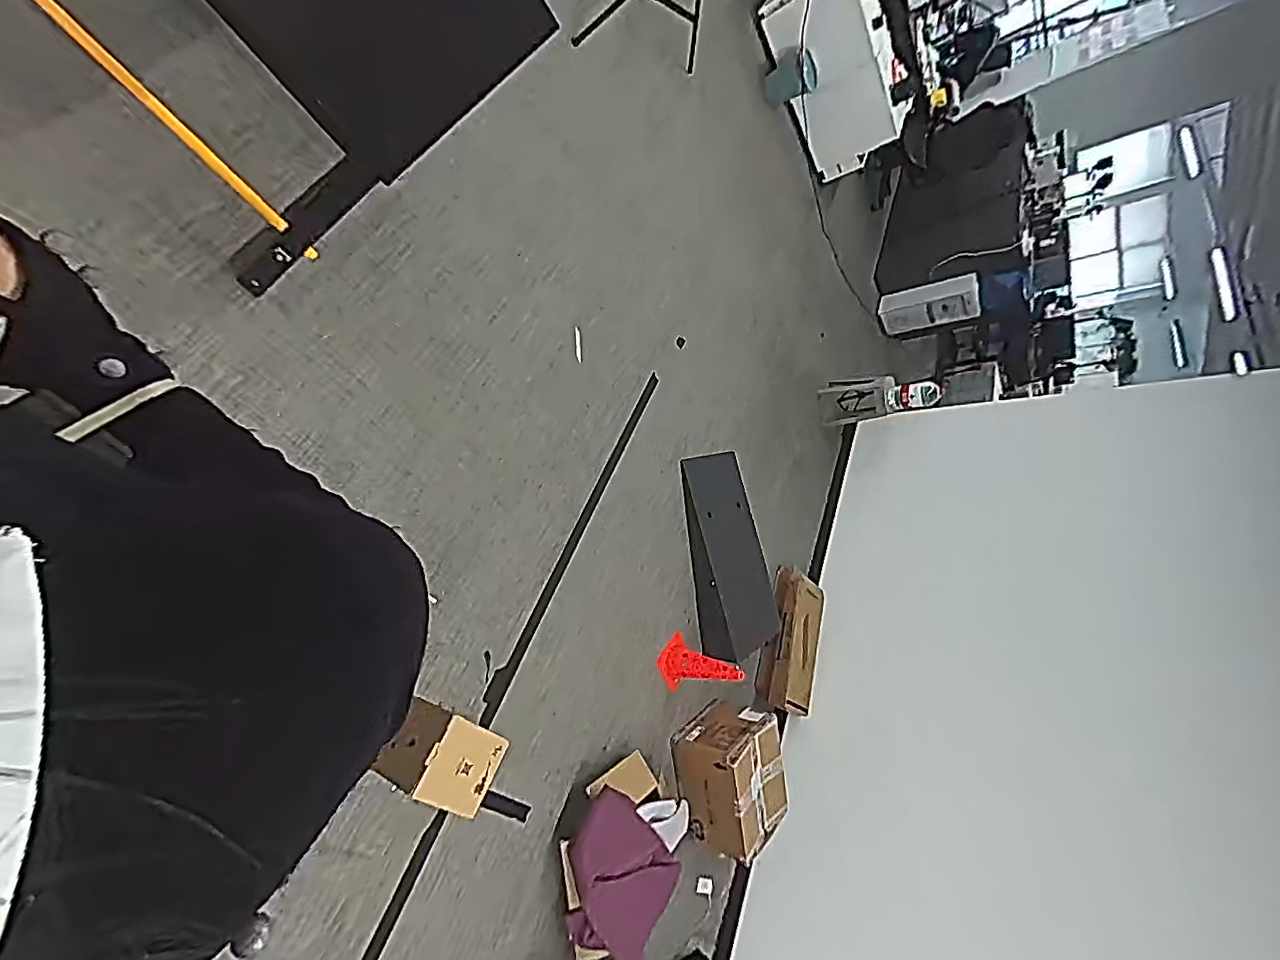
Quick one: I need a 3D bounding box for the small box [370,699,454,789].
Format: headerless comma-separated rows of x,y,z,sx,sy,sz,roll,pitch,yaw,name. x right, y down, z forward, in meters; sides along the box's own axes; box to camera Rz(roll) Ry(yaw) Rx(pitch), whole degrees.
-0.492,0.639,1.280,0.179,0.176,0.168,49,52,-36,small box

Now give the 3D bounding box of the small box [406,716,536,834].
-0.368,0.631,1.173,0.179,0.176,0.168,49,53,-36,small box

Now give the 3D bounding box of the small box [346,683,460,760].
-0.610,0.643,1.396,0.179,0.176,0.168,47,53,-36,small box
